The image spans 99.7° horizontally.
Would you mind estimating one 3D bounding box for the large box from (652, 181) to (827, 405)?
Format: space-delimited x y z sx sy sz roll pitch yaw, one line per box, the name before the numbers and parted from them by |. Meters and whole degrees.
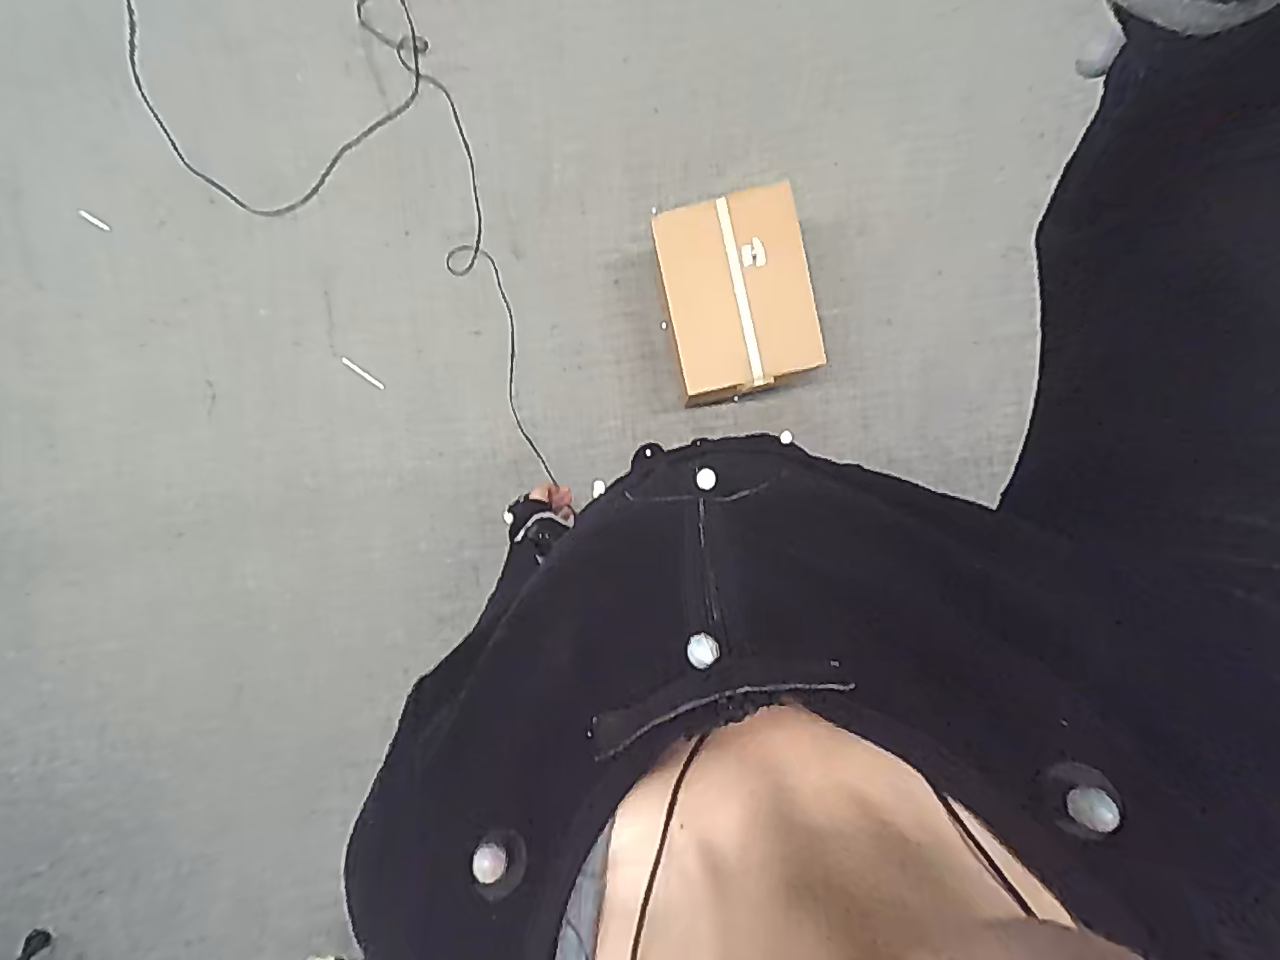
large box | 0.229 -0.427 1.330 0.320 0.320 0.408 -12 91 3
